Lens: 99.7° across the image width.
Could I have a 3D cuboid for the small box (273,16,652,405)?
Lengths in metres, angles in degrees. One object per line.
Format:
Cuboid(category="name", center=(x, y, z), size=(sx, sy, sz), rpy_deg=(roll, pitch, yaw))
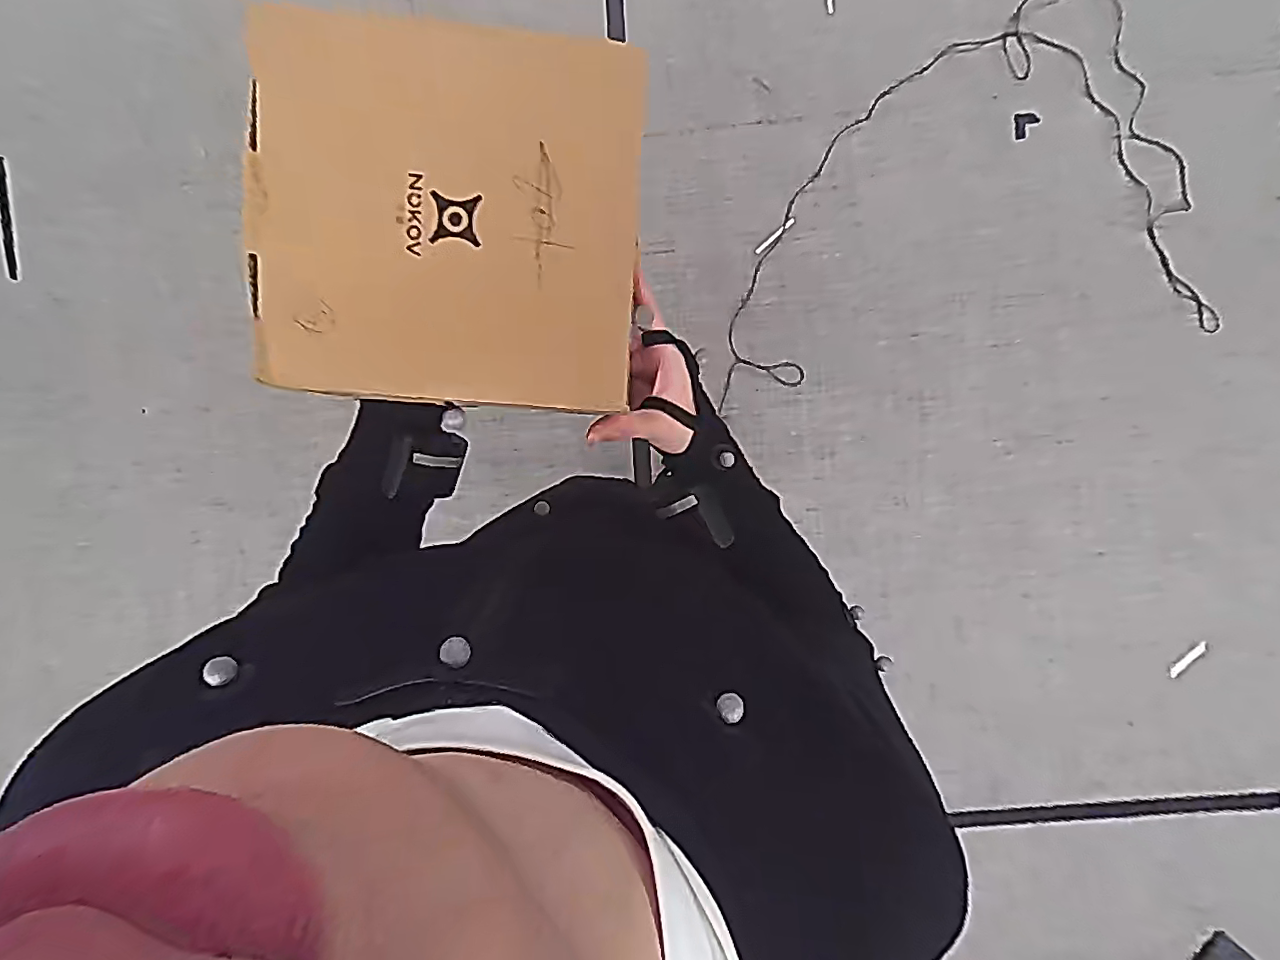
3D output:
Cuboid(category="small box", center=(-0.091, -0.136, 0.340), size=(0.179, 0.176, 0.168), rpy_deg=(3, 97, -5))
